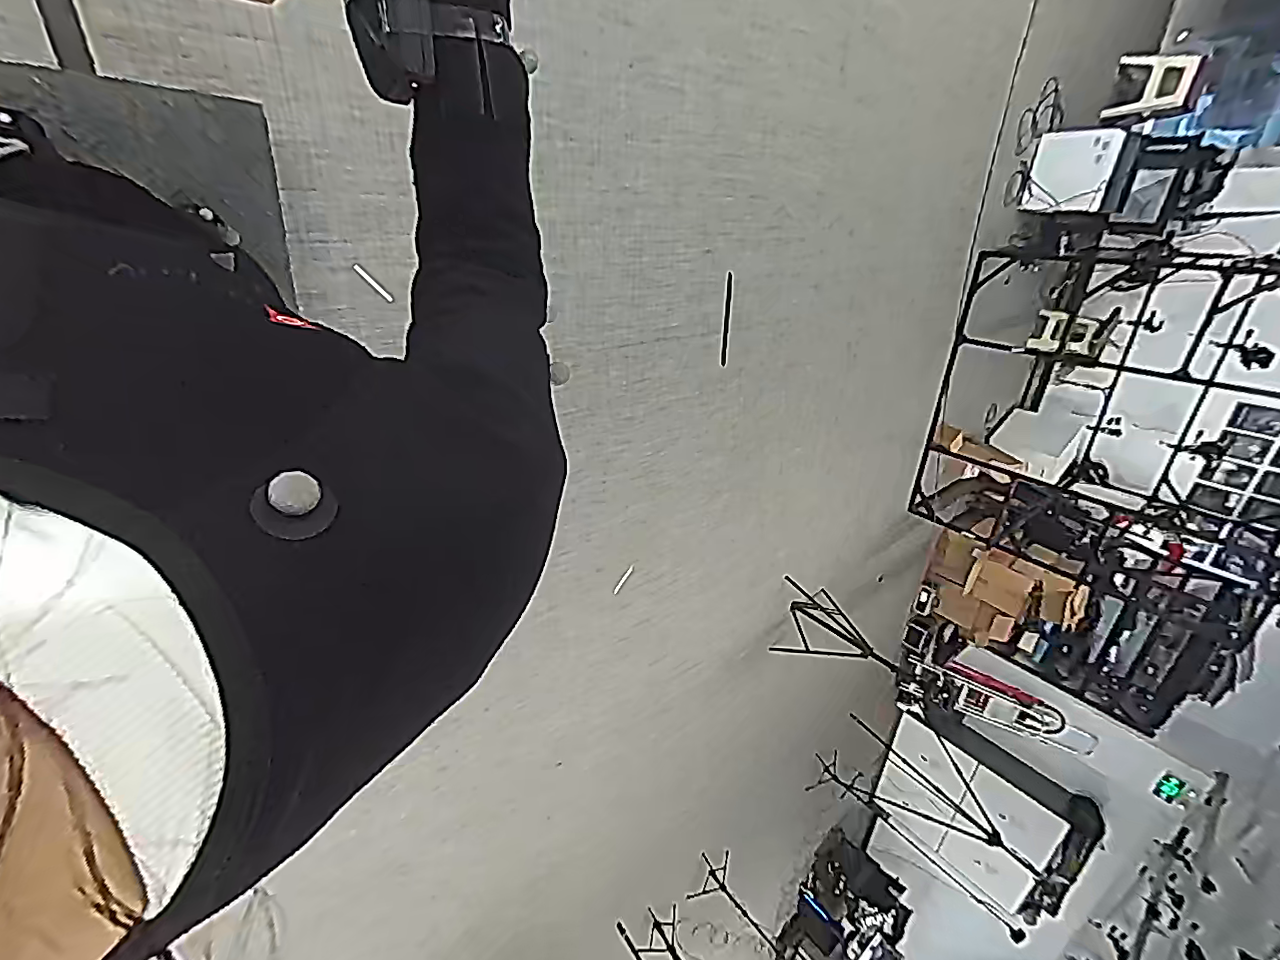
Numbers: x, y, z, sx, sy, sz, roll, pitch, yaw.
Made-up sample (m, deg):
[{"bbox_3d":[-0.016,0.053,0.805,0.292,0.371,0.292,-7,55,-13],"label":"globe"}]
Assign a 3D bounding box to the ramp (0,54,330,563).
[{"bbox_3d":[-0.994,-0.267,1.151,0.509,0.206,0.991,-18,123,-36],"label":"ramp"}]
